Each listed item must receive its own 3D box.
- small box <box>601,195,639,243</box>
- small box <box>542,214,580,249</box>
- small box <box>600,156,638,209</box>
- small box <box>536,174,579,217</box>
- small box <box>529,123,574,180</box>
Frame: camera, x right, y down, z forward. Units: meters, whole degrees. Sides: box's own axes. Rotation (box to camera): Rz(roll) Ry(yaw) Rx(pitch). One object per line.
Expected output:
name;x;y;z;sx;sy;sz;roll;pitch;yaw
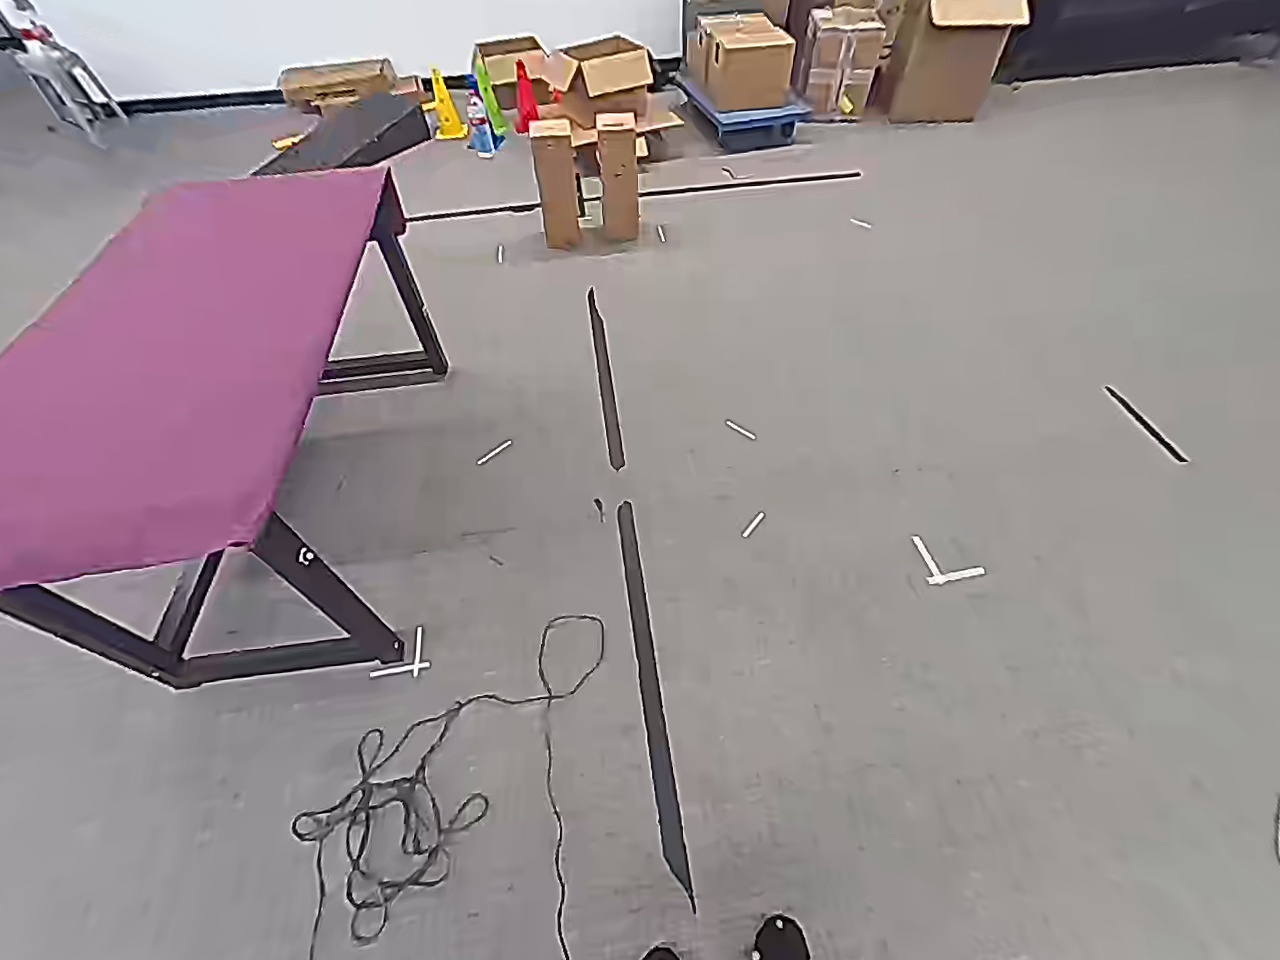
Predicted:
small box;-0.100;-1.290;2.664;0.179;0.176;0.168;-3;53;-2
small box;-0.386;-1.244;2.634;0.168;0.176;0.179;-7;52;-6
small box;-0.098;-1.385;2.529;0.168;0.176;0.179;-4;52;-3
small box;-0.383;-1.336;2.500;0.179;0.176;0.168;-6;53;-6
small box;-0.386;-1.436;2.369;0.179;0.176;0.168;-6;54;-6
